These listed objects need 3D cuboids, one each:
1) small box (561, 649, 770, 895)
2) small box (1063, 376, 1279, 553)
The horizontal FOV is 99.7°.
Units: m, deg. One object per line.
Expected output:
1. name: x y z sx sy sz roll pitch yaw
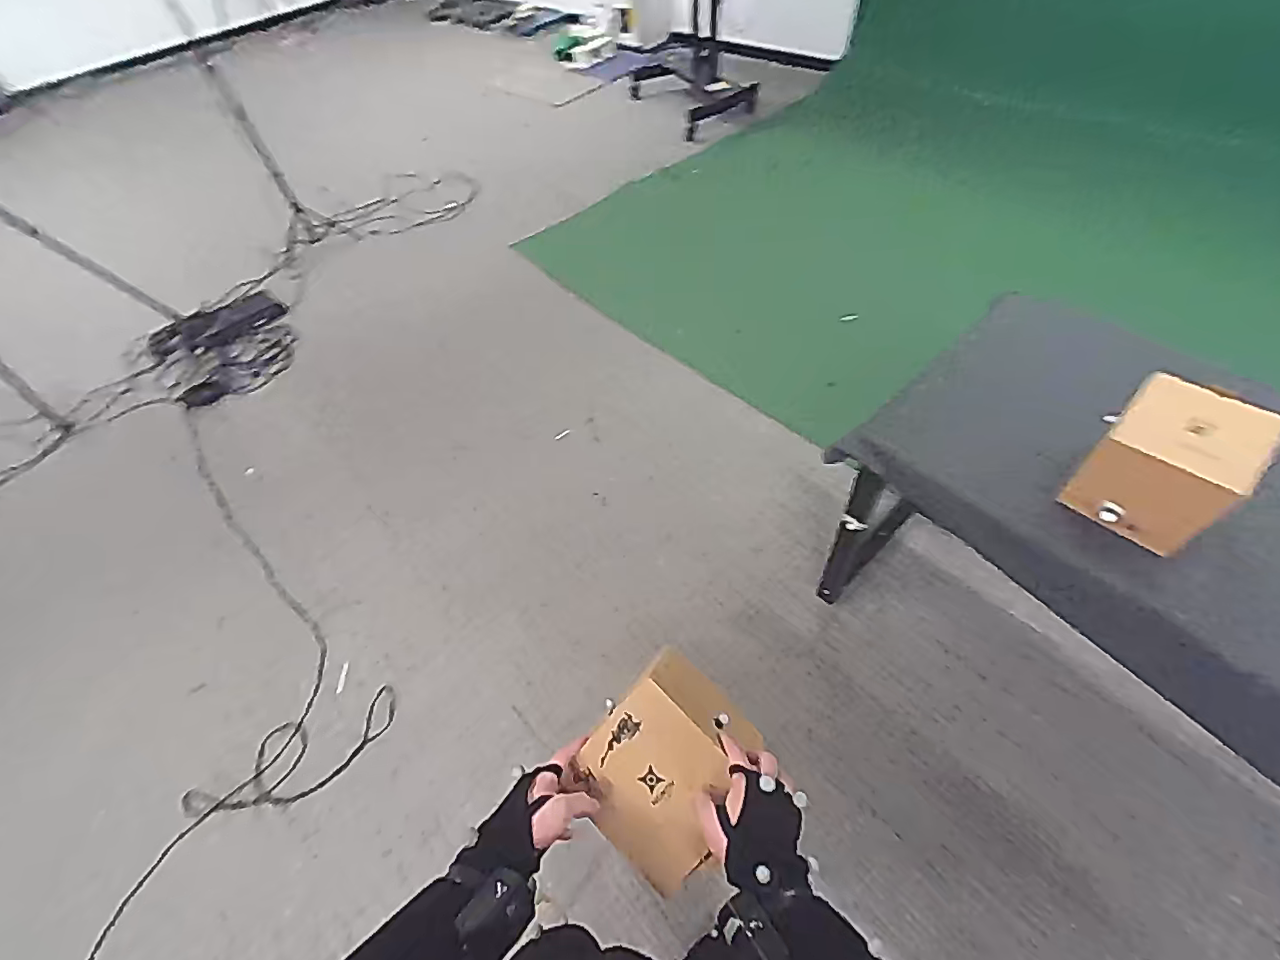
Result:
1. small box: 0.040 0.338 0.669 0.179 0.176 0.168 43 94 12
2. small box: 0.812 -0.023 0.842 0.179 0.176 0.168 -40 58 -21
